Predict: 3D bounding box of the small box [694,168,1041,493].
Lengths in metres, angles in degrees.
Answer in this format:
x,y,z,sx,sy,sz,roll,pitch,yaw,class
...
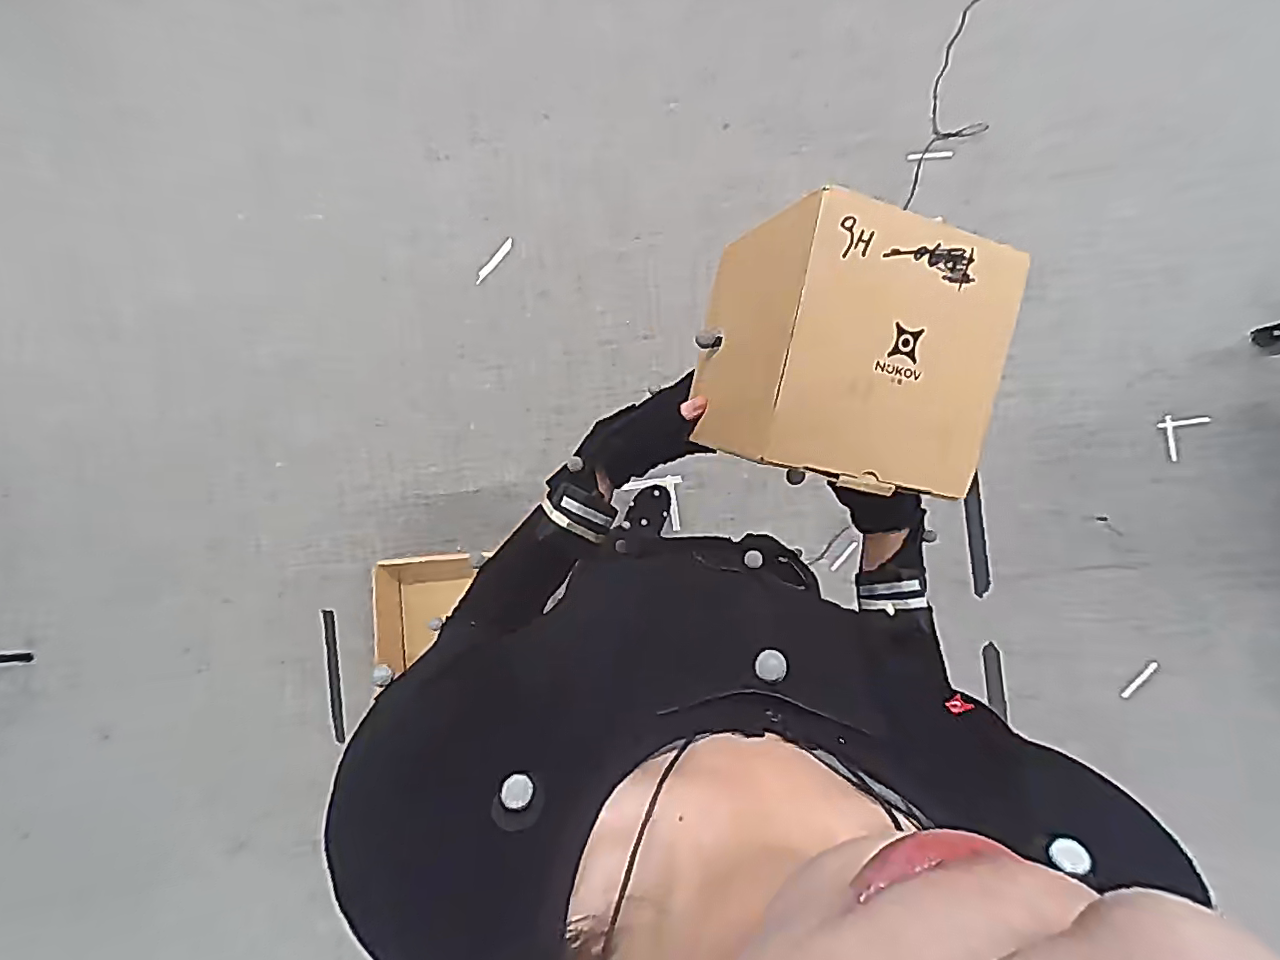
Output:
x,y,z,sx,sy,sz,roll,pitch,yaw,class
0.154,-0.103,0.426,0.168,0.176,0.179,10,98,-15,small box
